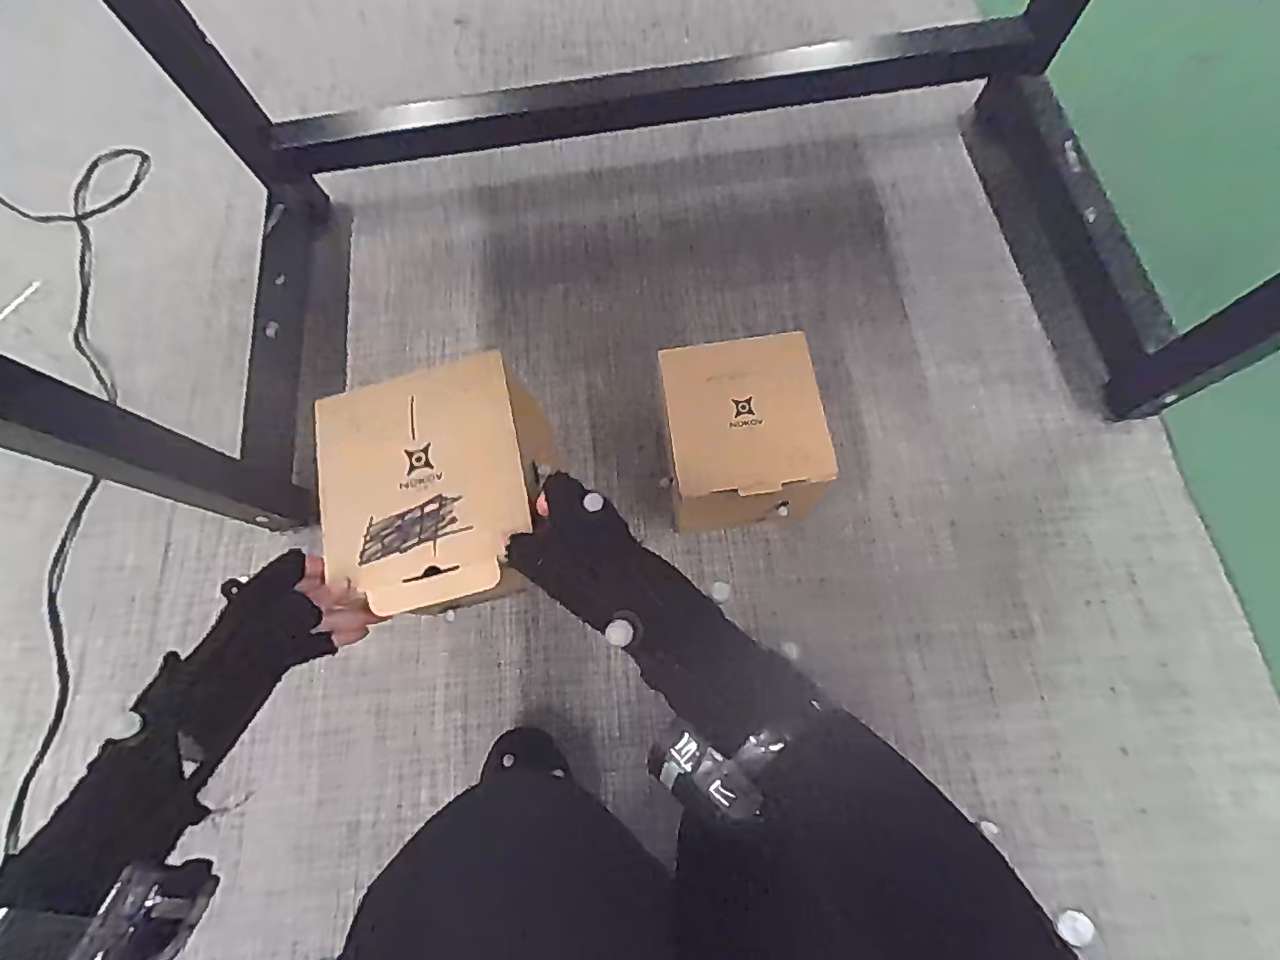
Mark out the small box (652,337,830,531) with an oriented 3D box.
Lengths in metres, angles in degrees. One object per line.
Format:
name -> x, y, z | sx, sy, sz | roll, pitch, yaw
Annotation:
small box -> 0.109, -0.043, 0.653 | 0.168, 0.176, 0.179 | -8, 70, 0
